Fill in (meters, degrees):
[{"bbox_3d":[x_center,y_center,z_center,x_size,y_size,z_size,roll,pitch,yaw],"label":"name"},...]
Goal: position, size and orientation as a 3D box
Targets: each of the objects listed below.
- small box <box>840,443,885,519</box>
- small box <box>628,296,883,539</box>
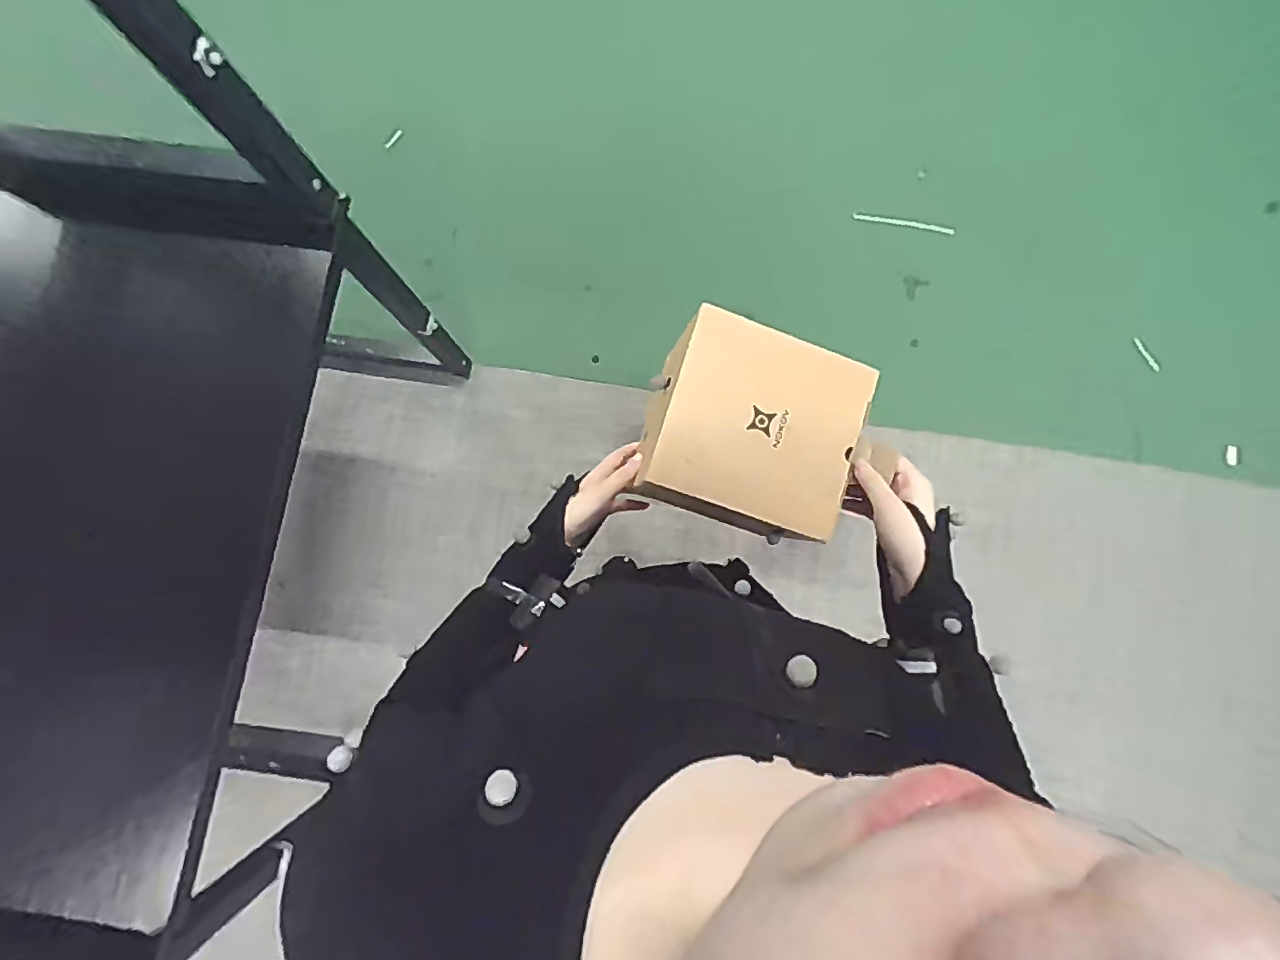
[{"bbox_3d":[0.443,-0.007,1.288,0.179,0.176,0.168,20,83,3],"label":"small box"},{"bbox_3d":[0.097,-0.047,0.534,0.179,0.176,0.168,19,85,-7],"label":"small box"}]
